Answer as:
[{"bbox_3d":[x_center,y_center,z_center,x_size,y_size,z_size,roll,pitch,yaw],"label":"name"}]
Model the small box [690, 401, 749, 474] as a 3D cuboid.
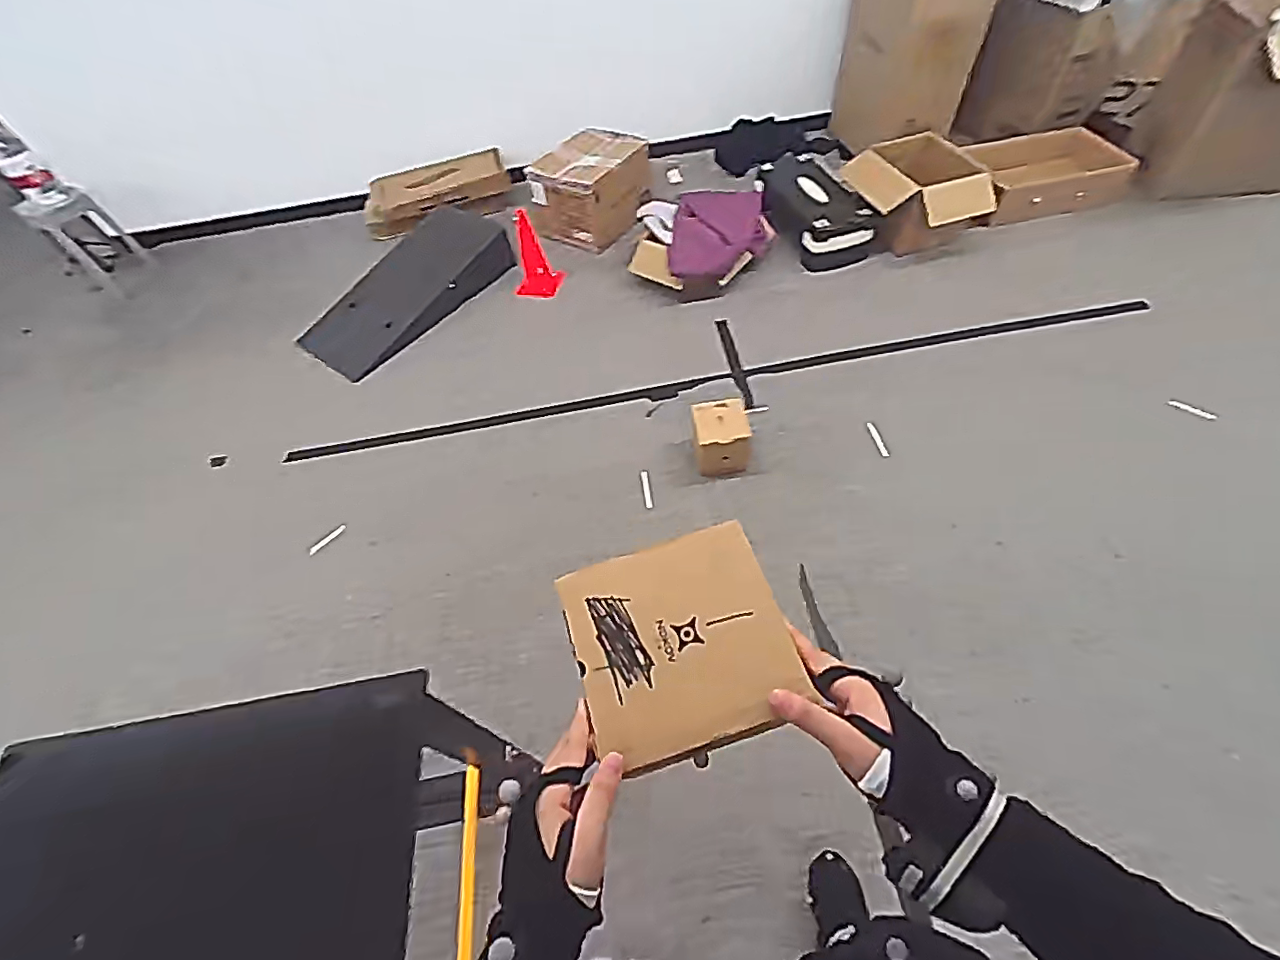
[{"bbox_3d":[0.261,-0.133,1.790,0.168,0.176,0.179,-8,54,1],"label":"small box"}]
